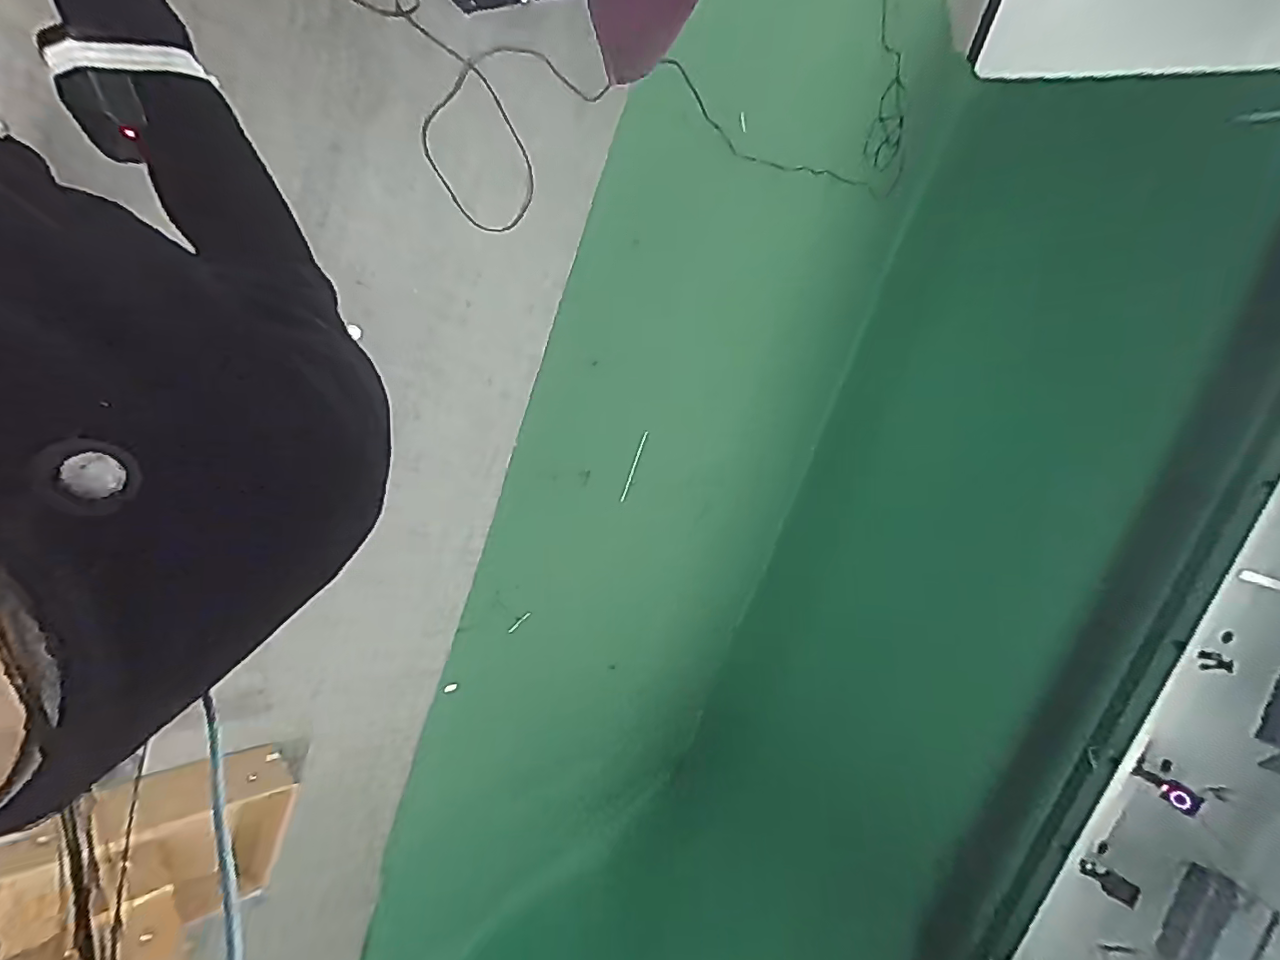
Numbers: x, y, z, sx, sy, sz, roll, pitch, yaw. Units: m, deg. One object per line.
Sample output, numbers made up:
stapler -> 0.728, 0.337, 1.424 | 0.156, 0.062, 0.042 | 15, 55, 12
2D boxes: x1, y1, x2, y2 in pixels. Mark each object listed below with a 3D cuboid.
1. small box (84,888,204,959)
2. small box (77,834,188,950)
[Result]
small box -> -1.204, 1.152, 1.310 | 0.179, 0.176, 0.168 | 1, 110, -56
small box -> -1.318, 1.077, 1.402 | 0.168, 0.176, 0.179 | 8, 103, -58
